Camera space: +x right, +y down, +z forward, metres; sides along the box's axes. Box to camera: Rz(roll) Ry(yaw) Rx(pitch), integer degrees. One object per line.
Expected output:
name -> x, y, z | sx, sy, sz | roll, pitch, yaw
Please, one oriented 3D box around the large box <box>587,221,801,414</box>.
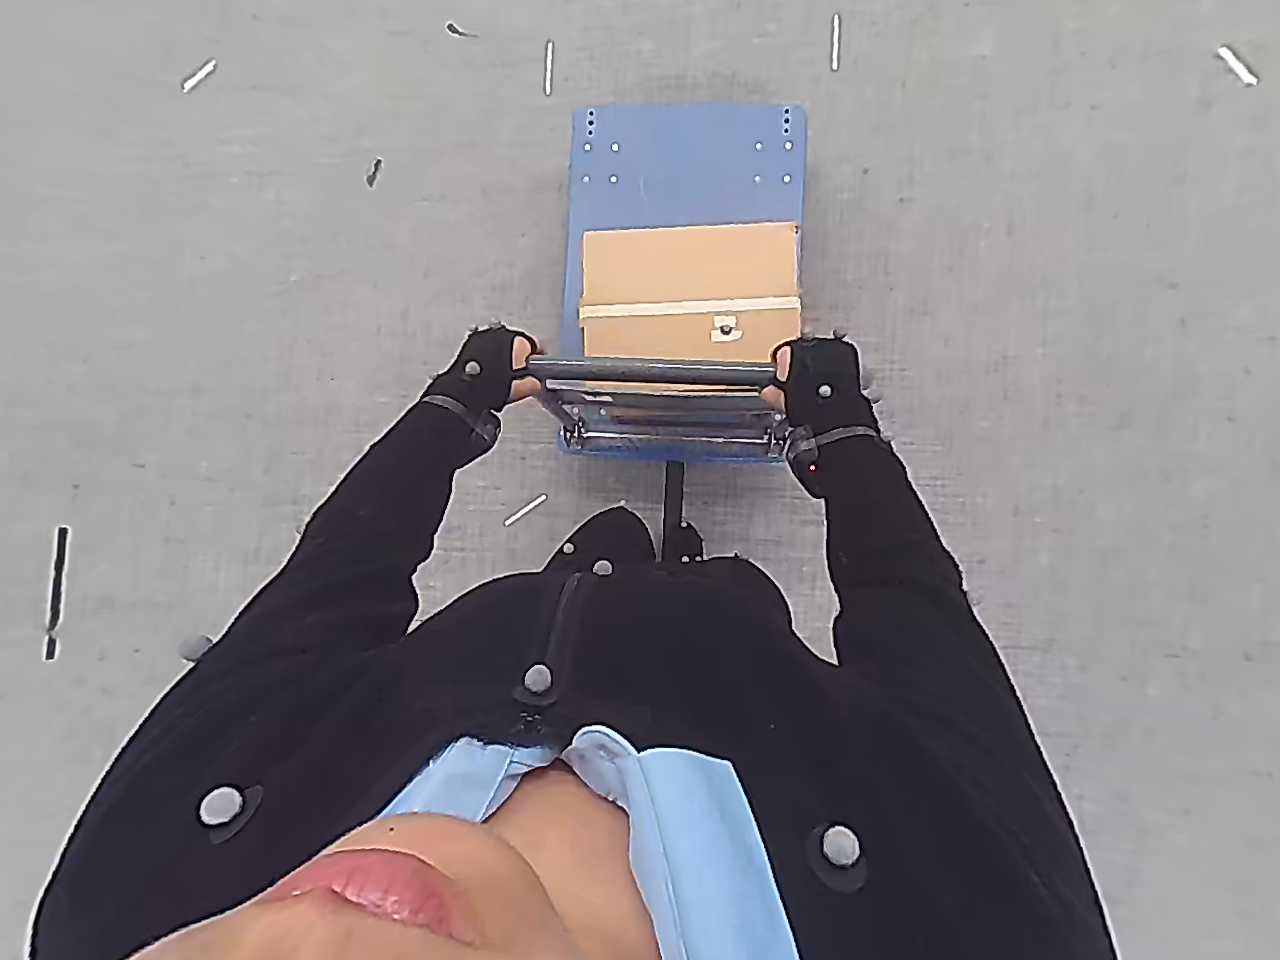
large box -> 0.106, -0.327, 1.178 | 0.408, 0.320, 0.320 | -1, 89, 3
